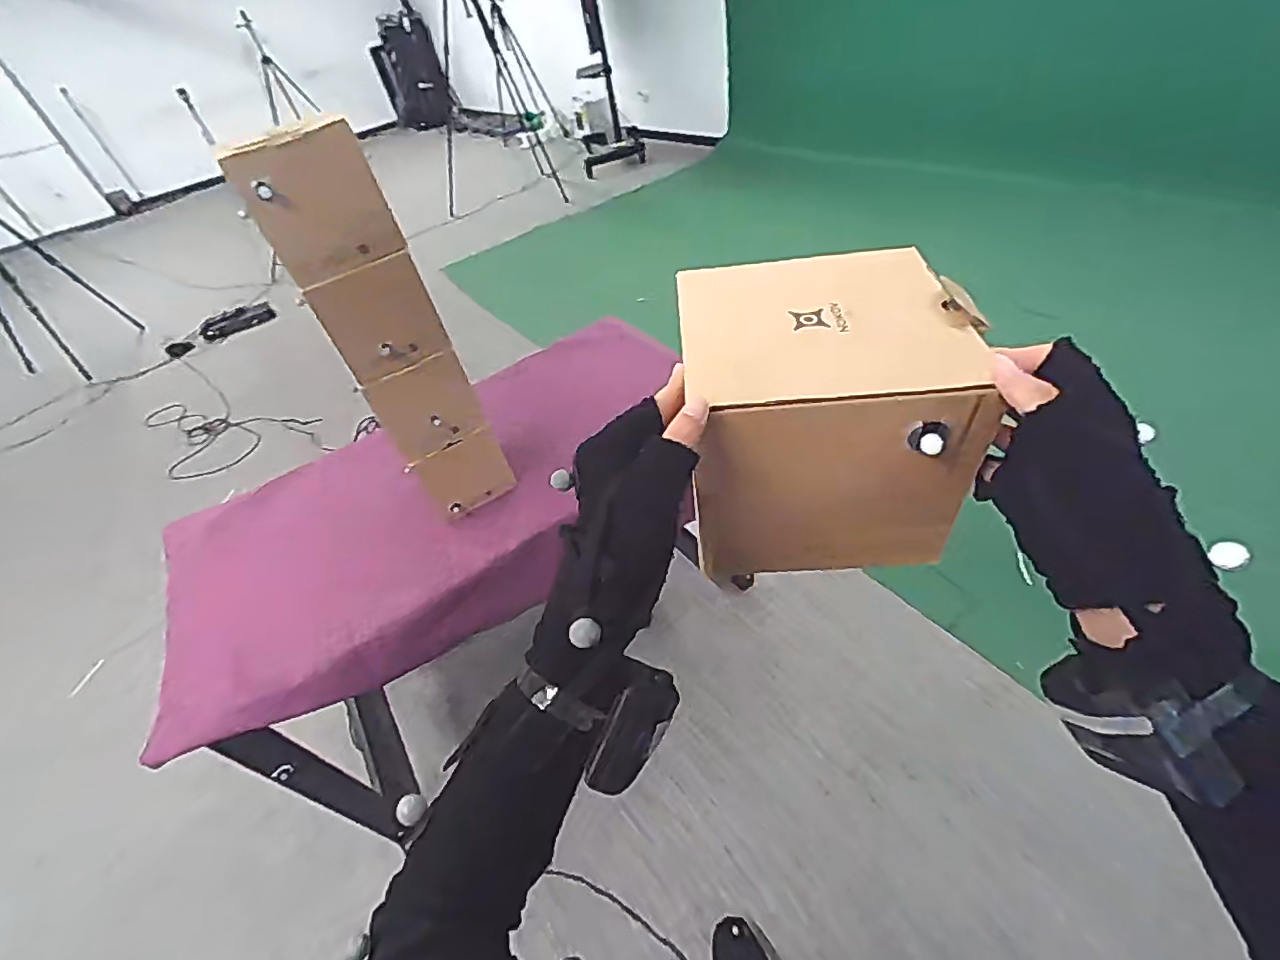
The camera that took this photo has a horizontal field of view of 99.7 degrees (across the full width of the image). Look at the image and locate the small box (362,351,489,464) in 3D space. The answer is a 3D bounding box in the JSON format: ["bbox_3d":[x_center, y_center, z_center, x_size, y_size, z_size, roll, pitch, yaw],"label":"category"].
[{"bbox_3d":[-0.411,-0.160,1.015,0.168,0.176,0.179,-31,46,-18],"label":"small box"}]

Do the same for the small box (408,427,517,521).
[{"bbox_3d":[-0.378,-0.040,1.122,0.168,0.176,0.179,-30,45,-18],"label":"small box"}]

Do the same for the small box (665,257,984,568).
[{"bbox_3d":[0.115,-0.046,0.414,0.179,0.176,0.168,-4,46,5],"label":"small box"}]

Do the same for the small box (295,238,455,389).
[{"bbox_3d":[-0.440,-0.279,0.908,0.168,0.176,0.179,-31,46,-18],"label":"small box"}]
